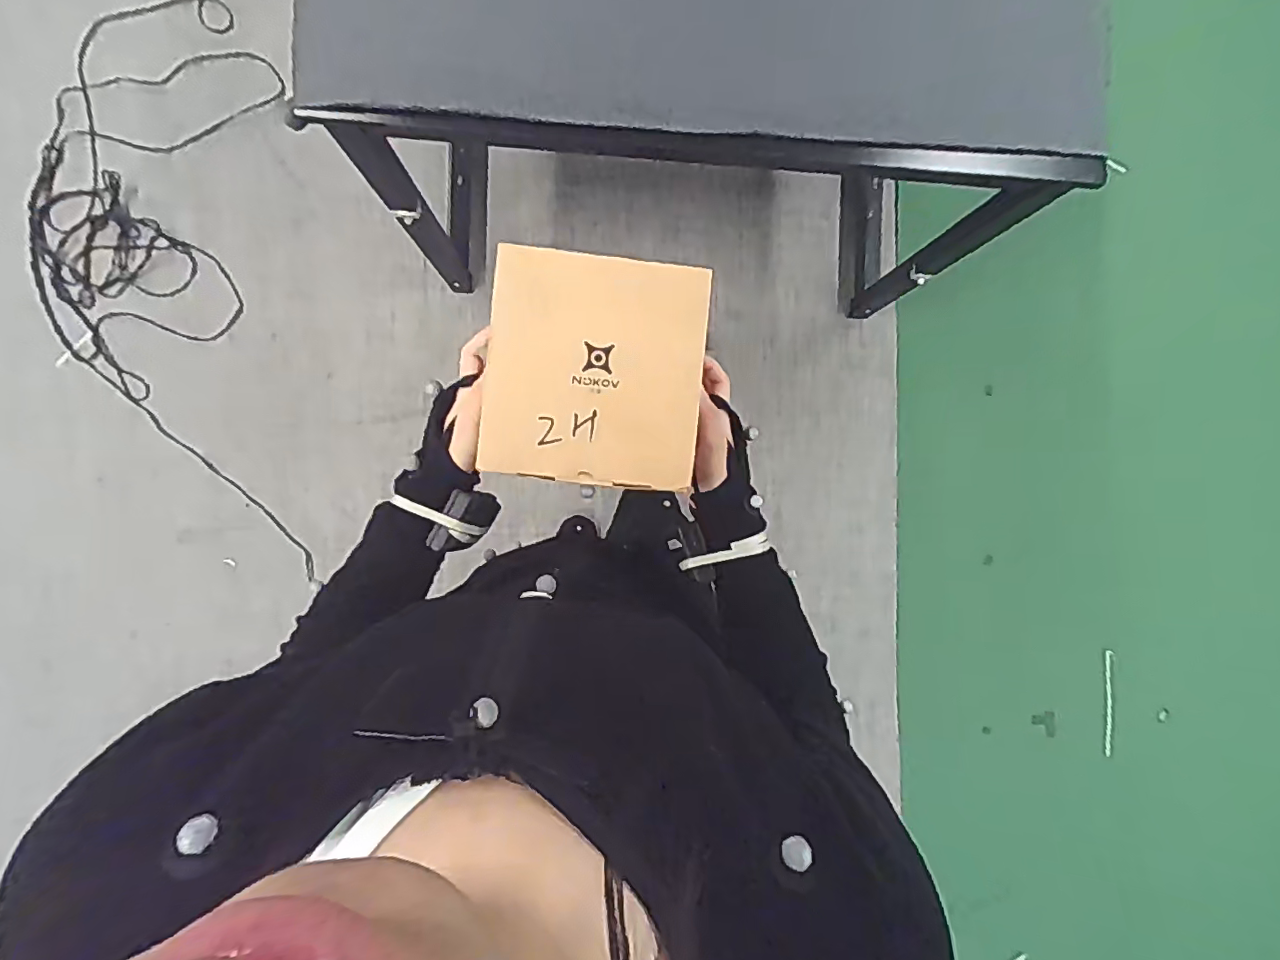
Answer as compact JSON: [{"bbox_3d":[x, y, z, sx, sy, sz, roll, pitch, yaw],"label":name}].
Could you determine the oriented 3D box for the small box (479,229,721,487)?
[{"bbox_3d":[-0.034,-0.088,0.478,0.168,0.176,0.179,6,89,-4],"label":"small box"}]
